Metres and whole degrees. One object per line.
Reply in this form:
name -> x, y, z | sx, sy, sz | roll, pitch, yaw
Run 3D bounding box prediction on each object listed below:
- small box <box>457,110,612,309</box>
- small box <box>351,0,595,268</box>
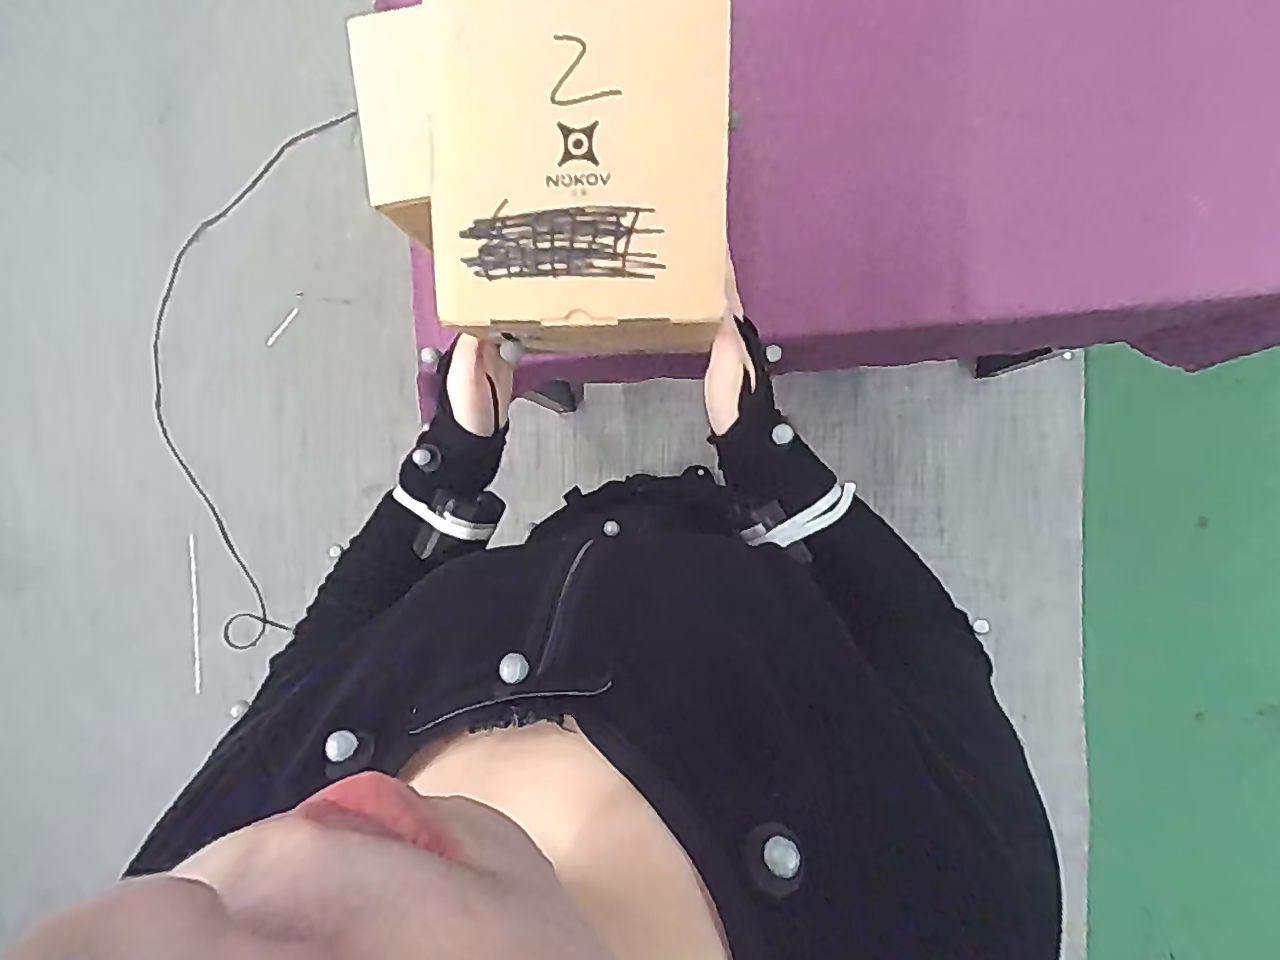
small box -> -0.133, -0.332, 0.702 | 0.168, 0.176, 0.179 | -5, 90, 4
small box -> -0.150, -0.330, 0.540 | 0.179, 0.176, 0.168 | -7, 91, 3
